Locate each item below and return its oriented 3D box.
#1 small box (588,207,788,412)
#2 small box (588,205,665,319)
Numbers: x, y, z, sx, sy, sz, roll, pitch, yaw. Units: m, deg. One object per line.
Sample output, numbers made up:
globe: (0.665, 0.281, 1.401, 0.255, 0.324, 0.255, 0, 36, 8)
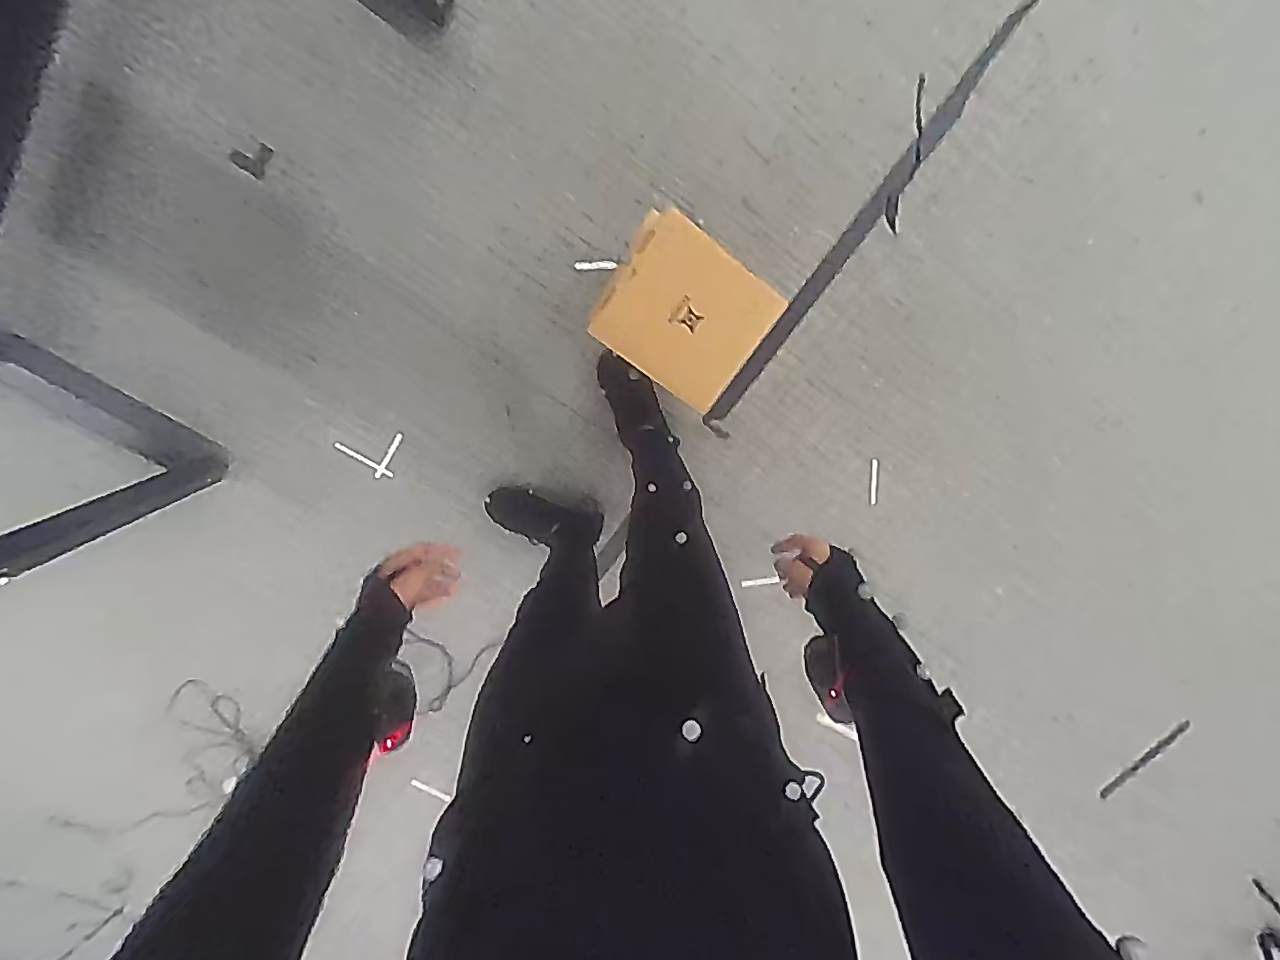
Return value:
small box: (0.053, -0.217, 0.695, 0.179, 0.176, 0.168, 34, 105, -13)
small box: (0.037, -0.289, 0.841, 0.168, 0.176, 0.179, 31, 105, -13)
